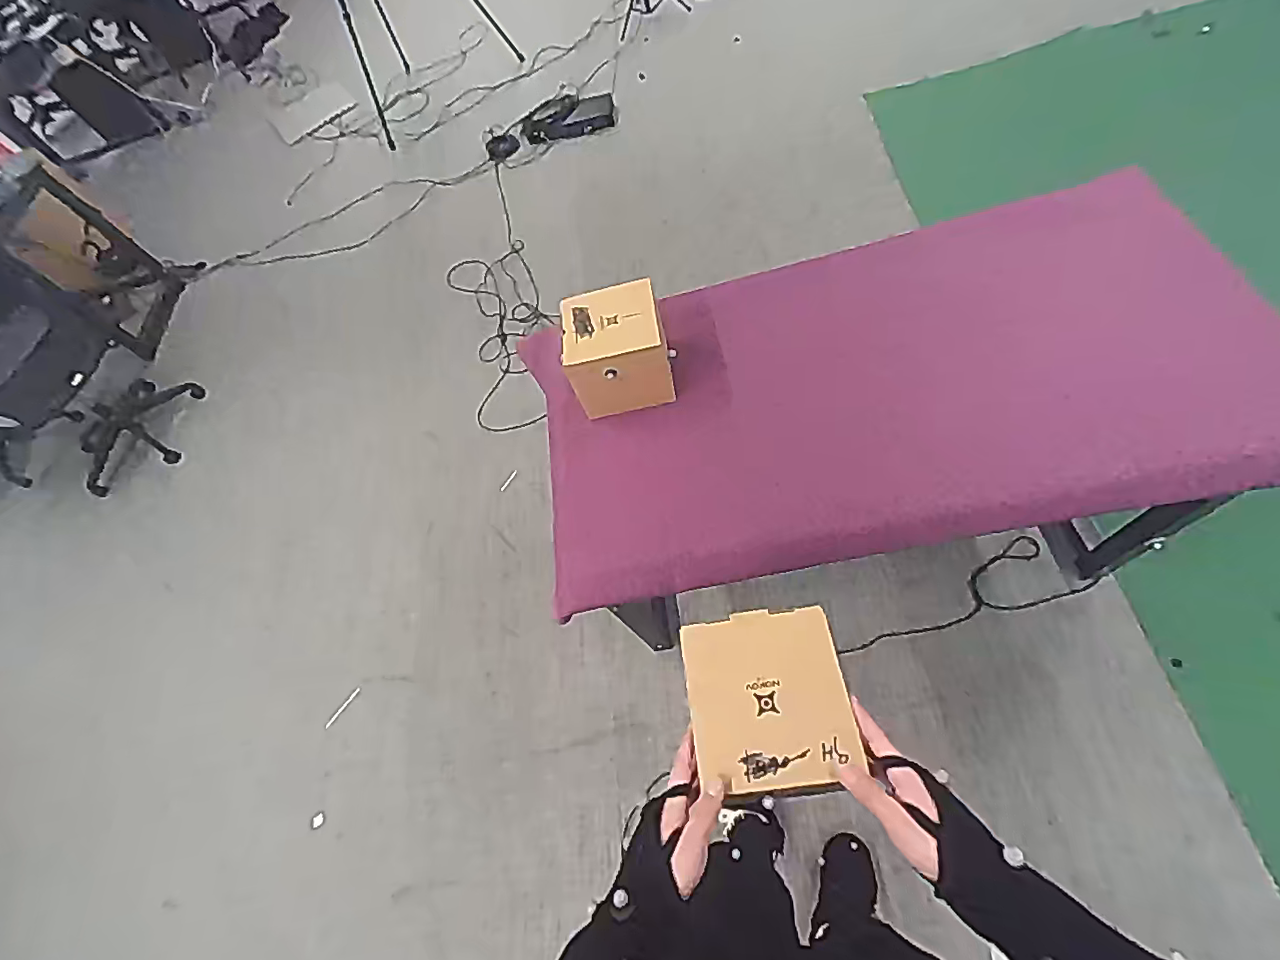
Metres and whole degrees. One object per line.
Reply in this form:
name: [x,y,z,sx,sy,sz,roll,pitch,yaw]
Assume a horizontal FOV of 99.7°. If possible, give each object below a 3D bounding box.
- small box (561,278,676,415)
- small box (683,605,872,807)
small box: [-0.038,-0.241,1.017,0.179,0.176,0.168,-11,61,8]
small box: [0.149,0.267,0.628,0.168,0.176,0.179,-11,55,7]
